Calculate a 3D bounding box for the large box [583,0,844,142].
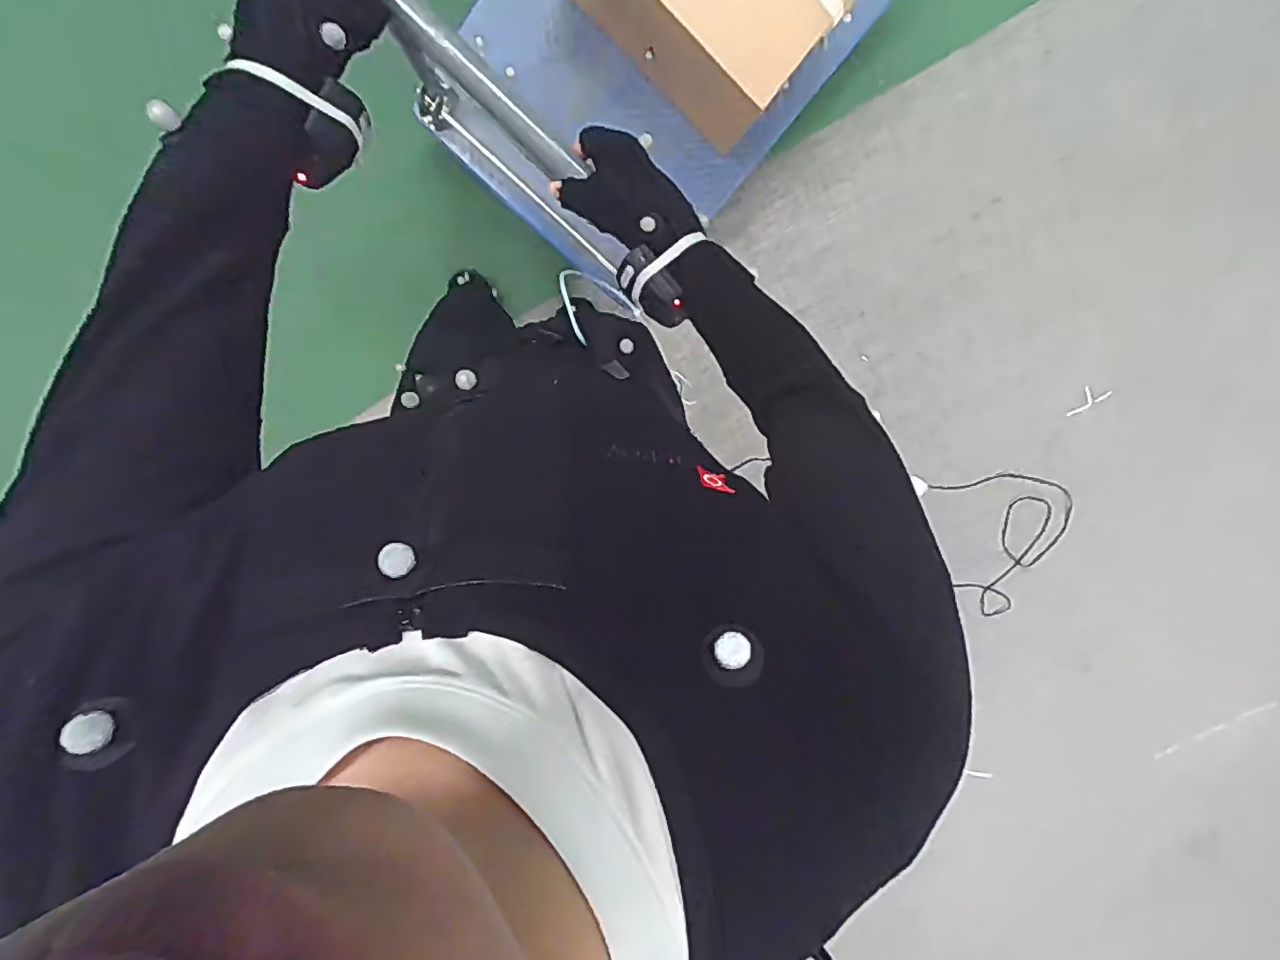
[{"bbox_3d":[0.126,-0.849,0.872,0.408,0.320,0.320,37,104,-15],"label":"large box"}]
